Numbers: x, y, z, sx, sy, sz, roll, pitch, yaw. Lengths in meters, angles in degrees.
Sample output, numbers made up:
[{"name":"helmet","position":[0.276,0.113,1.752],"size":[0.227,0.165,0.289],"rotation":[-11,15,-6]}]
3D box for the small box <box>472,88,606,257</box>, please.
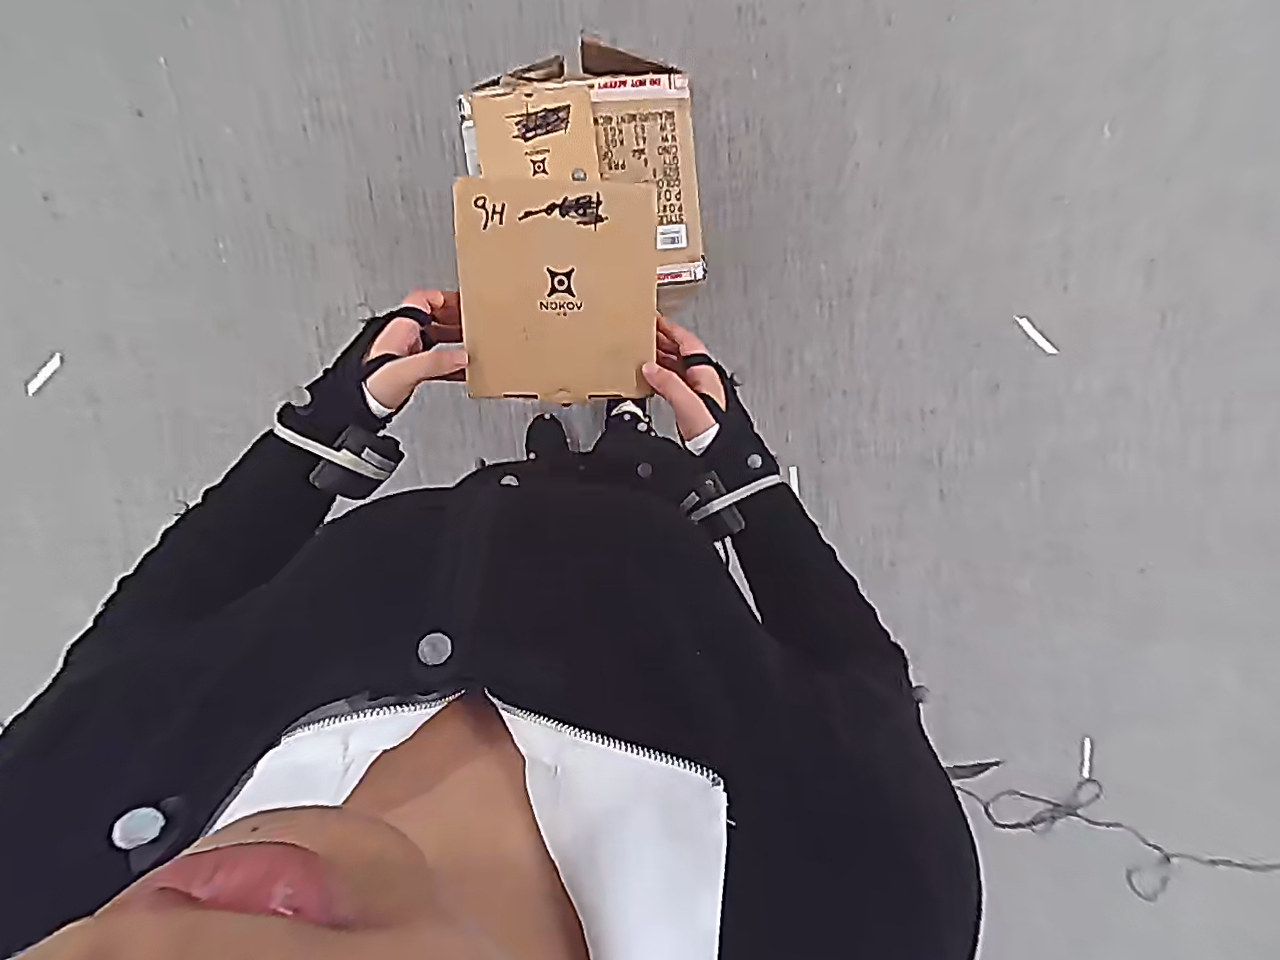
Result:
[{"name":"small box","position":[-0.144,-0.458,0.829],"size":[0.168,0.176,0.179],"rotation":[-7,103,-1]}]
